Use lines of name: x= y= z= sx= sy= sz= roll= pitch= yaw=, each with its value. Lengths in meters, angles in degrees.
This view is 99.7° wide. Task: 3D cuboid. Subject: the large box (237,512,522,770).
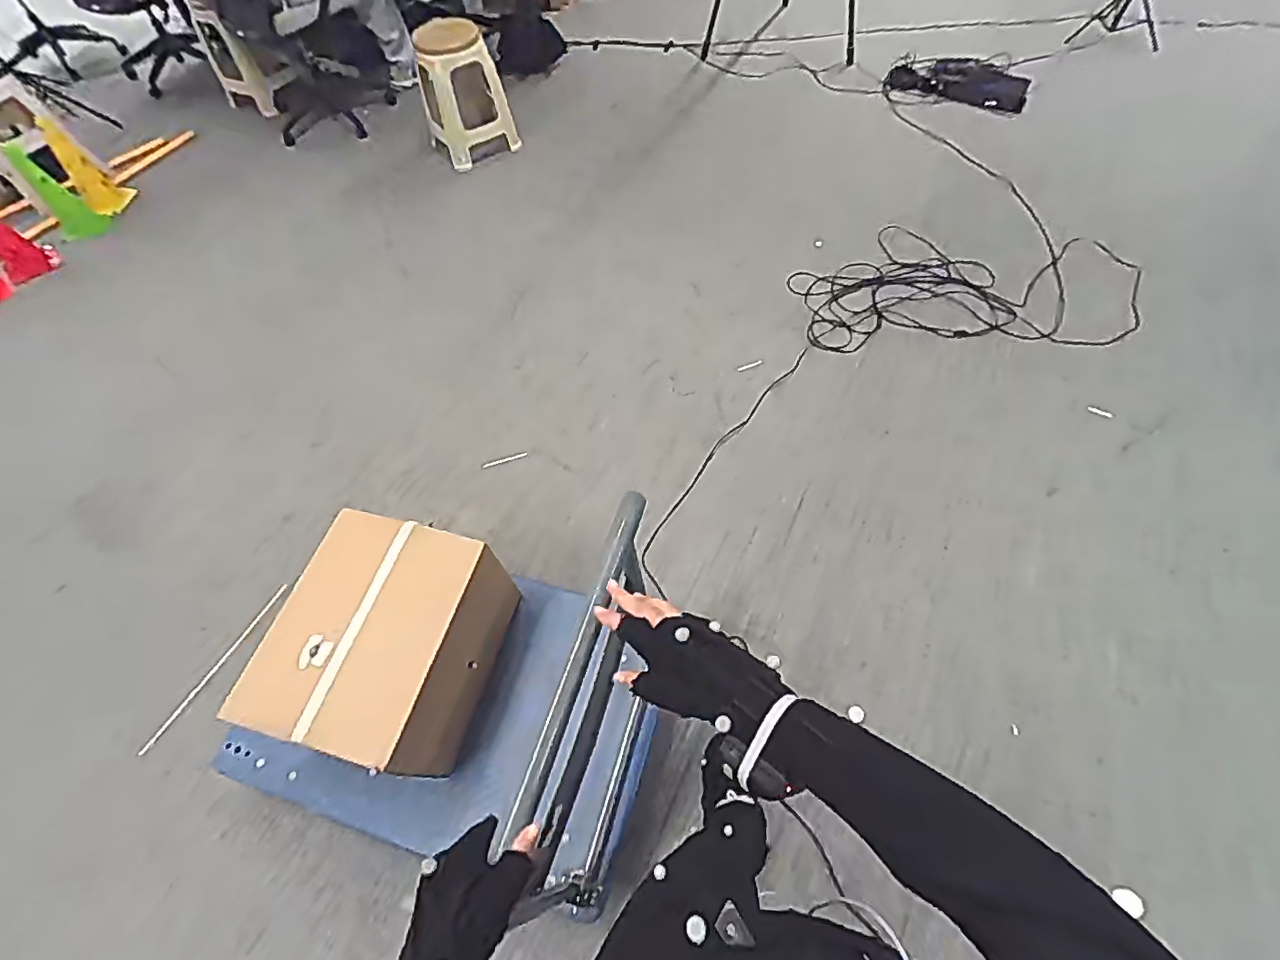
large box: x=-0.477 y=0.331 z=1.102 sx=0.320 sy=0.320 sz=0.408 roll=11 pitch=62 yaw=10
